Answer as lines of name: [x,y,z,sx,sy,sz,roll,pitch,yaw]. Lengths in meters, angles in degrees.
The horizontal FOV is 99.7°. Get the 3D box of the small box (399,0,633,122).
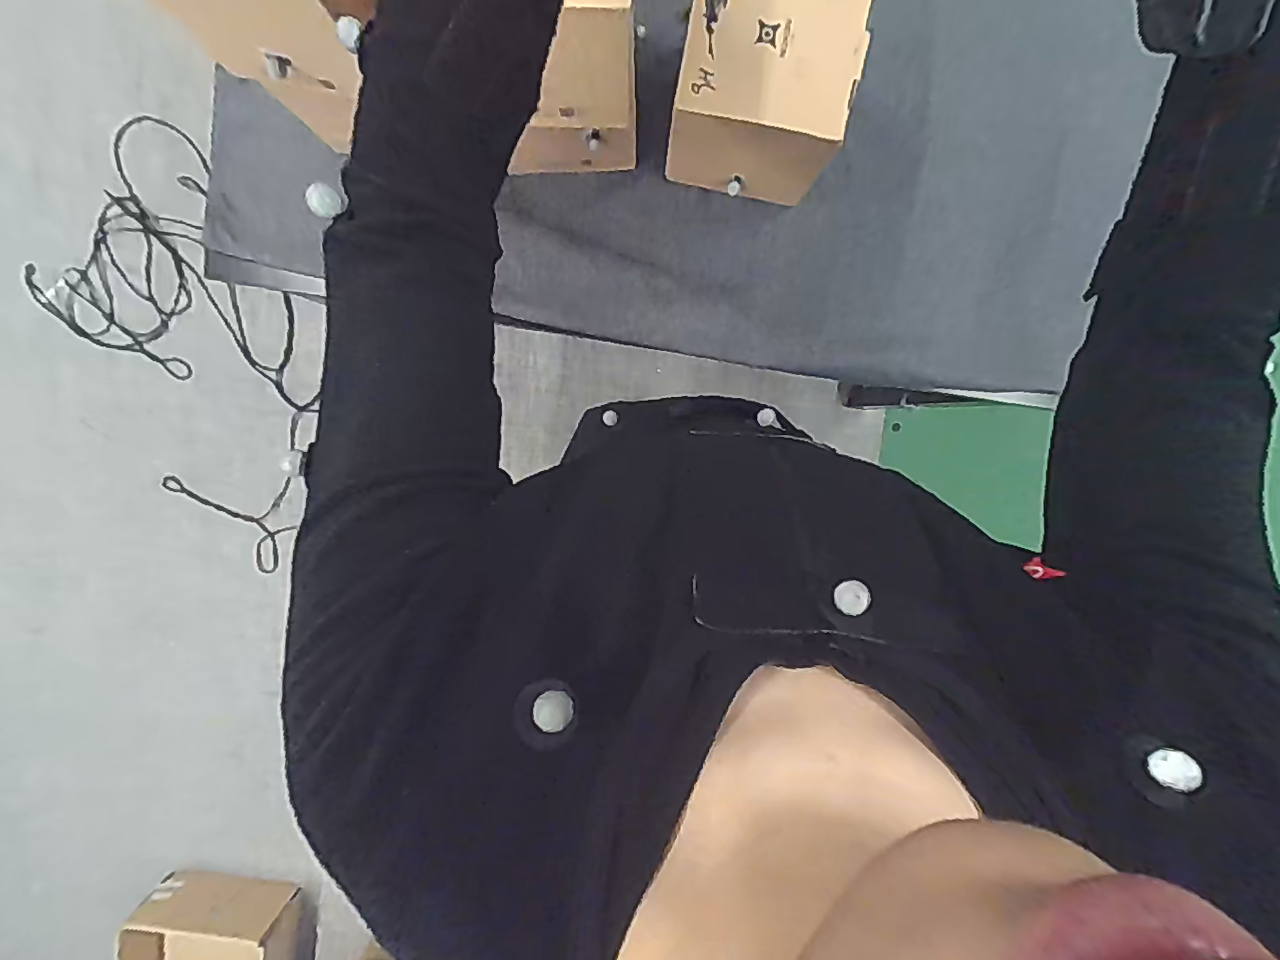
small box: [-0.088,-0.427,0.445,0.168,0.176,0.179,0,96,-1]
